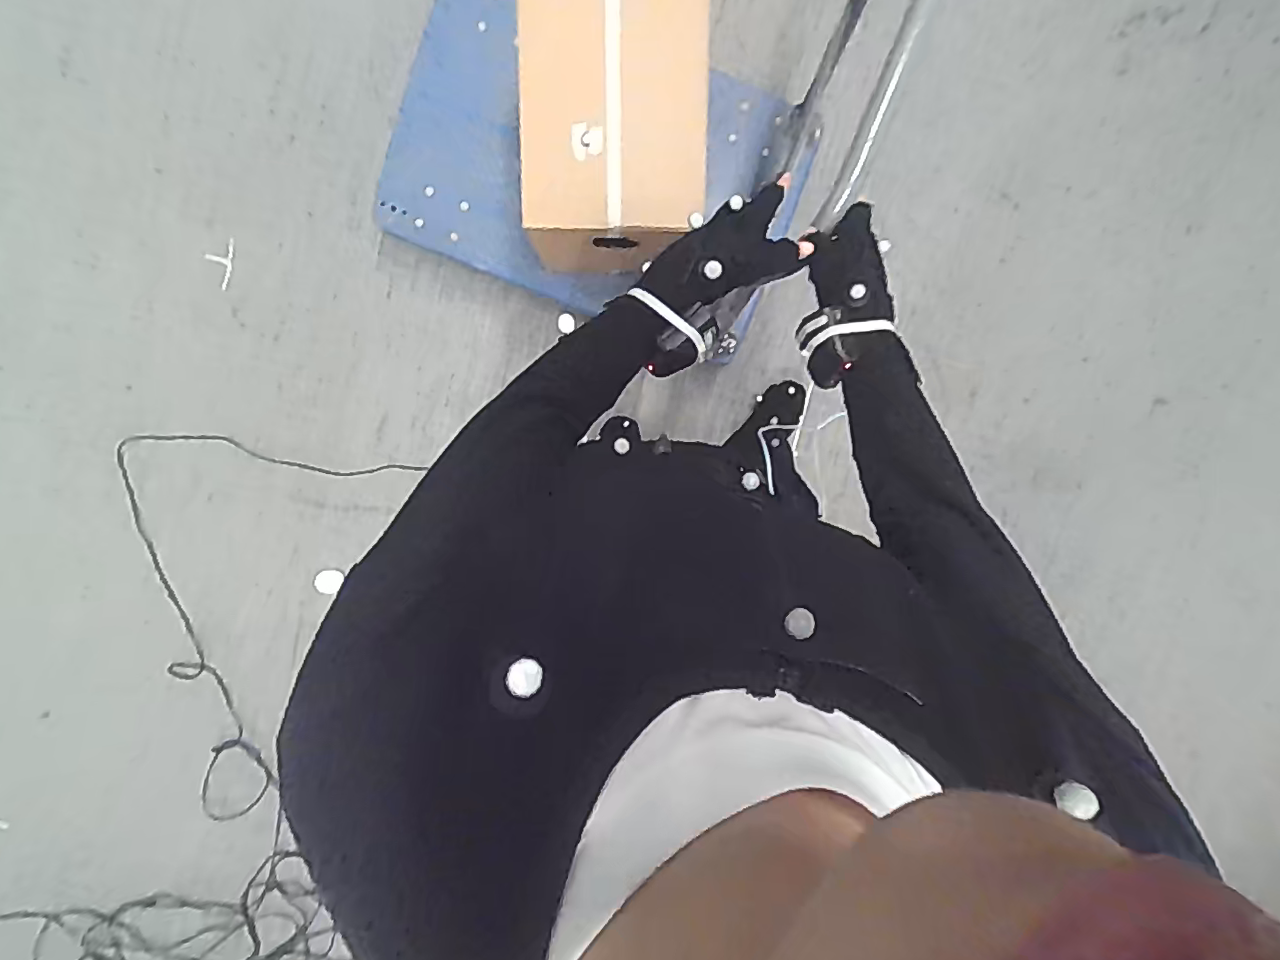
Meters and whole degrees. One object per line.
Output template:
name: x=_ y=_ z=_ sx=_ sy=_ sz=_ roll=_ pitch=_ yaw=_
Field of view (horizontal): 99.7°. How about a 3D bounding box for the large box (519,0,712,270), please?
large box: x=-0.047 y=-0.650 z=1.039 sx=0.320 sy=0.320 sz=0.408 roll=0 pitch=99 yaw=-2
